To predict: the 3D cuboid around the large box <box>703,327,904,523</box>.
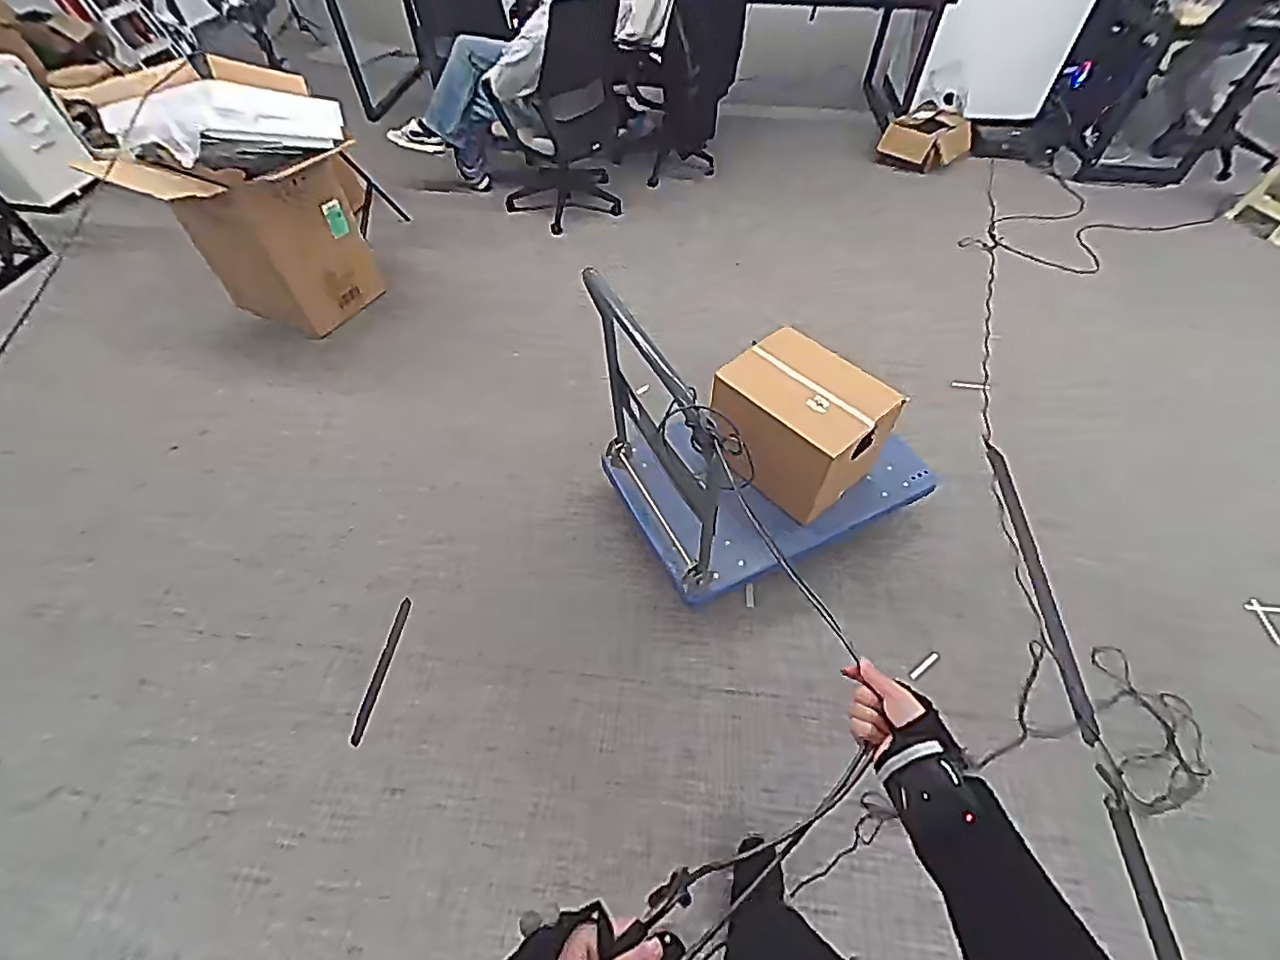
[{"bbox_3d":[0.438,-0.160,1.543,0.320,0.320,0.408,-36,62,-22],"label":"large box"}]
